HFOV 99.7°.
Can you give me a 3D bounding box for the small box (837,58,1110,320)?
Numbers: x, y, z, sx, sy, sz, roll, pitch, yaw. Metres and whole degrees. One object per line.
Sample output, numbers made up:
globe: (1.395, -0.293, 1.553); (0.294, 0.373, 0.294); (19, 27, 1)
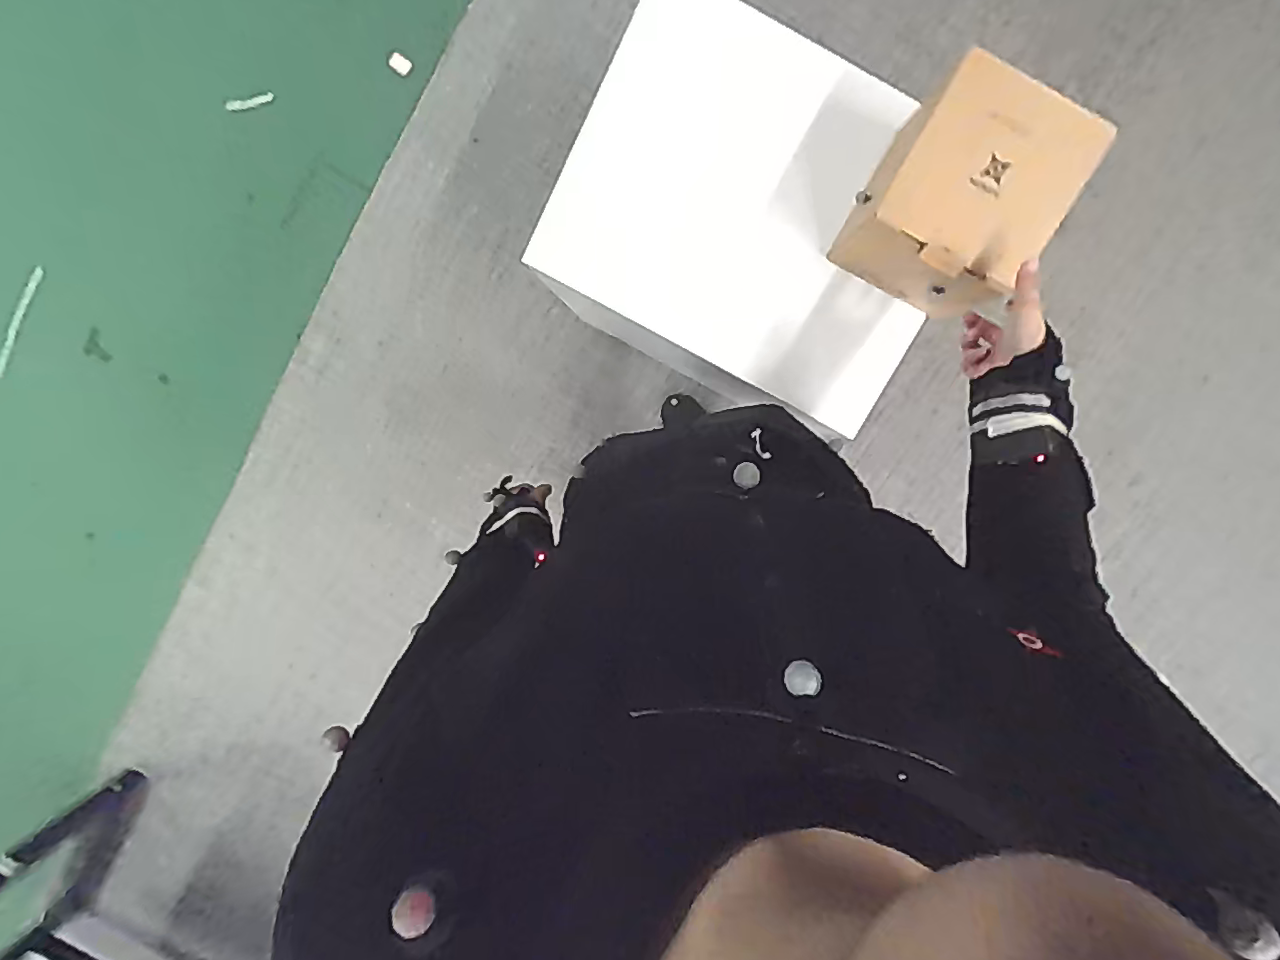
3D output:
small box: (0.347, -0.302, 0.609); (0.168, 0.176, 0.179); (28, 98, -2)
